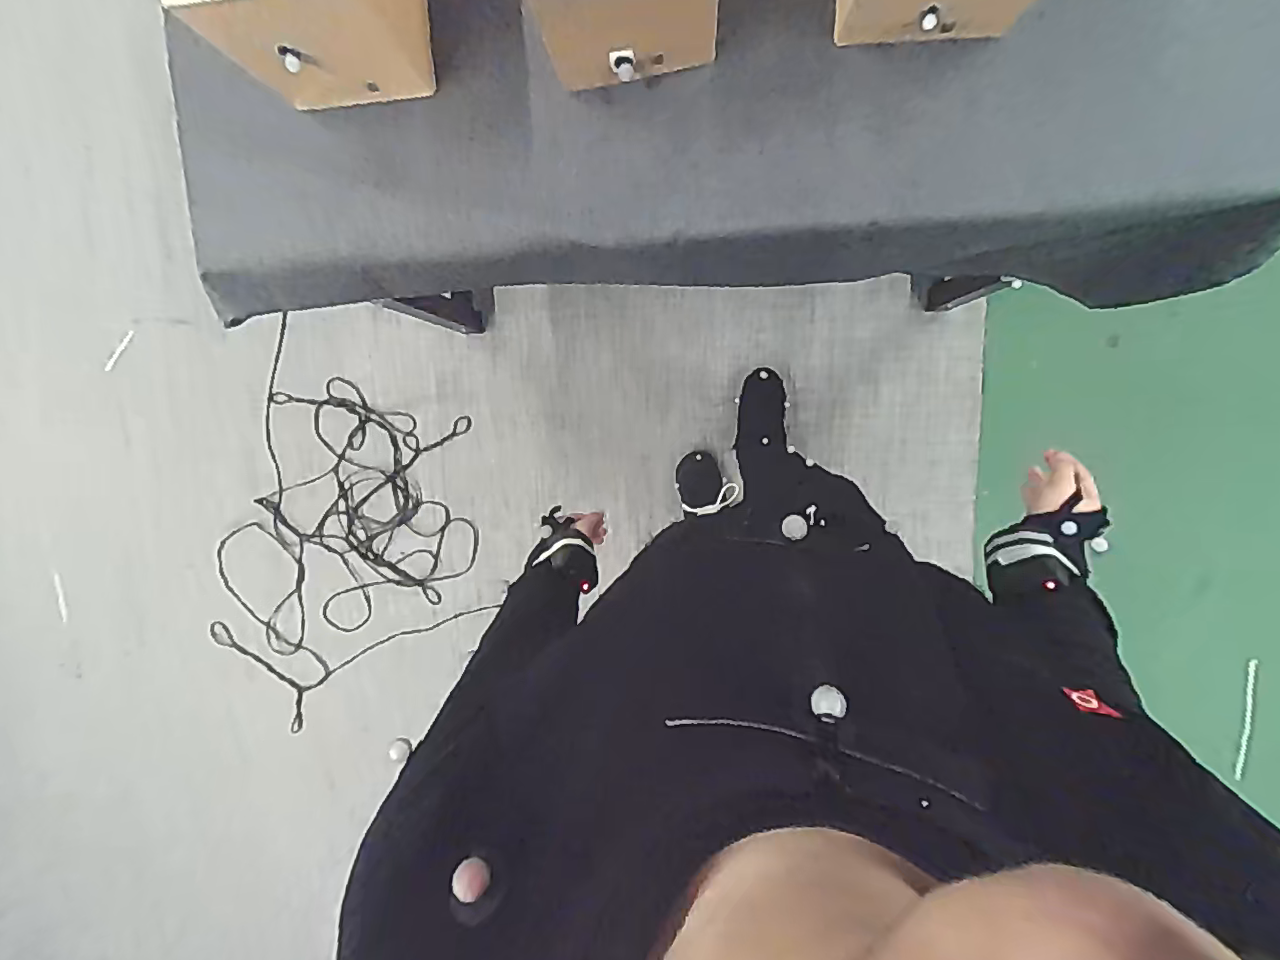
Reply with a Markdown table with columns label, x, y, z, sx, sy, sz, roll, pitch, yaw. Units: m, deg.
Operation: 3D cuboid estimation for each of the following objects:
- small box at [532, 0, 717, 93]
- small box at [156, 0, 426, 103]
| label | x | y | z | sx | sy | sz | roll | pitch | yaw |
| --- | --- | --- | --- | --- | --- | --- | --- | --- | --- |
| small box | -0.024 | -0.503 | 0.488 | 0.168 | 0.176 | 0.179 | -9 | 97 | 7 |
| small box | -0.322 | -0.493 | 0.514 | 0.168 | 0.176 | 0.179 | -3 | 96 | 5 |
